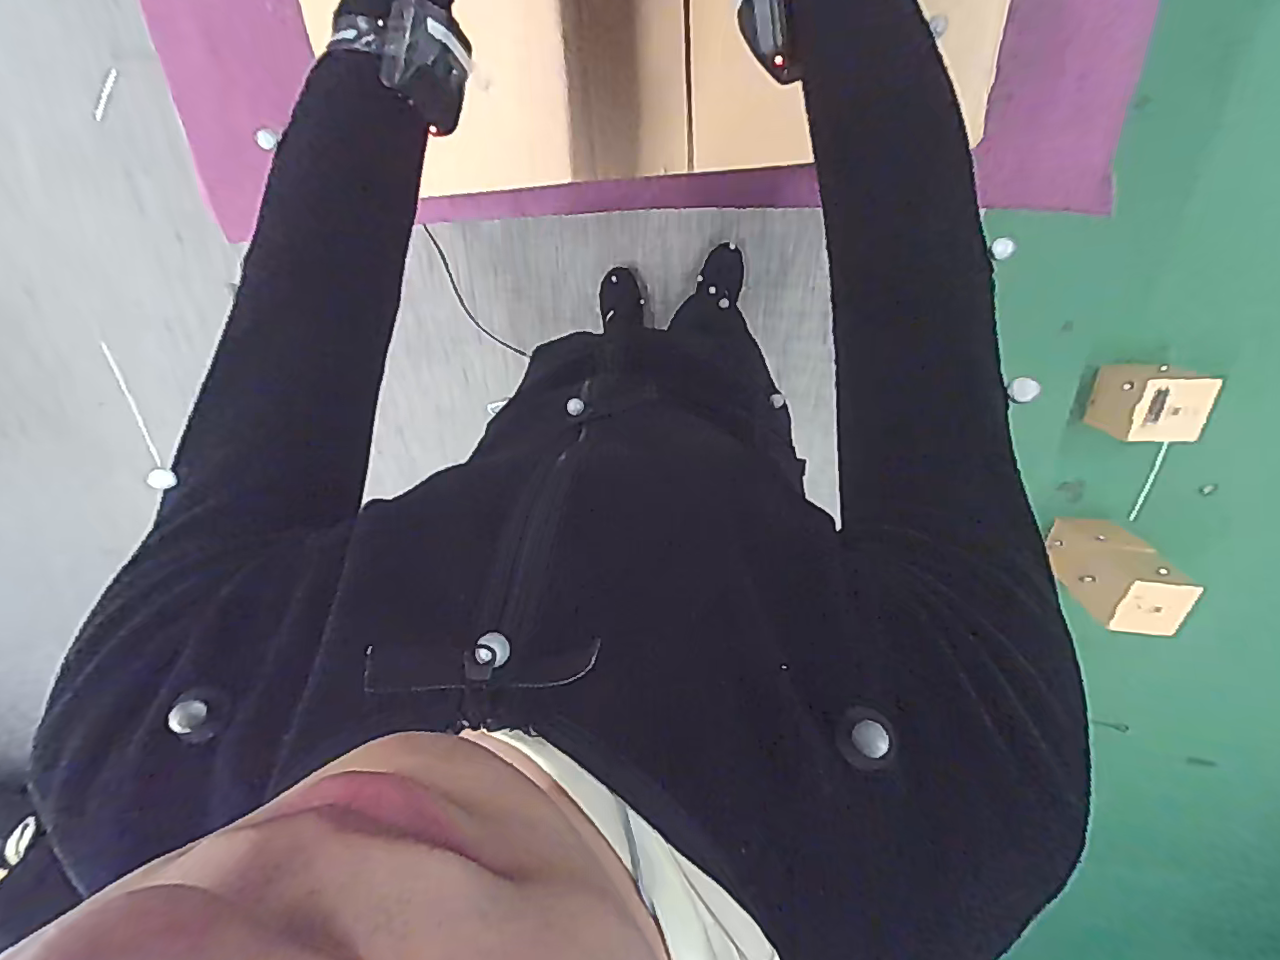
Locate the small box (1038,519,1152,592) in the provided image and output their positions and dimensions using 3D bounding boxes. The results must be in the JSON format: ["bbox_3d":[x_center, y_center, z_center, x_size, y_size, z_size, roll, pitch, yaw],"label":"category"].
[{"bbox_3d":[1.369,0.233,1.641,0.179,0.176,0.168,4,116,3],"label":"small box"}]

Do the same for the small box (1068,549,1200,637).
[{"bbox_3d":[1.353,0.308,1.496,0.179,0.176,0.168,6,117,2],"label":"small box"}]
